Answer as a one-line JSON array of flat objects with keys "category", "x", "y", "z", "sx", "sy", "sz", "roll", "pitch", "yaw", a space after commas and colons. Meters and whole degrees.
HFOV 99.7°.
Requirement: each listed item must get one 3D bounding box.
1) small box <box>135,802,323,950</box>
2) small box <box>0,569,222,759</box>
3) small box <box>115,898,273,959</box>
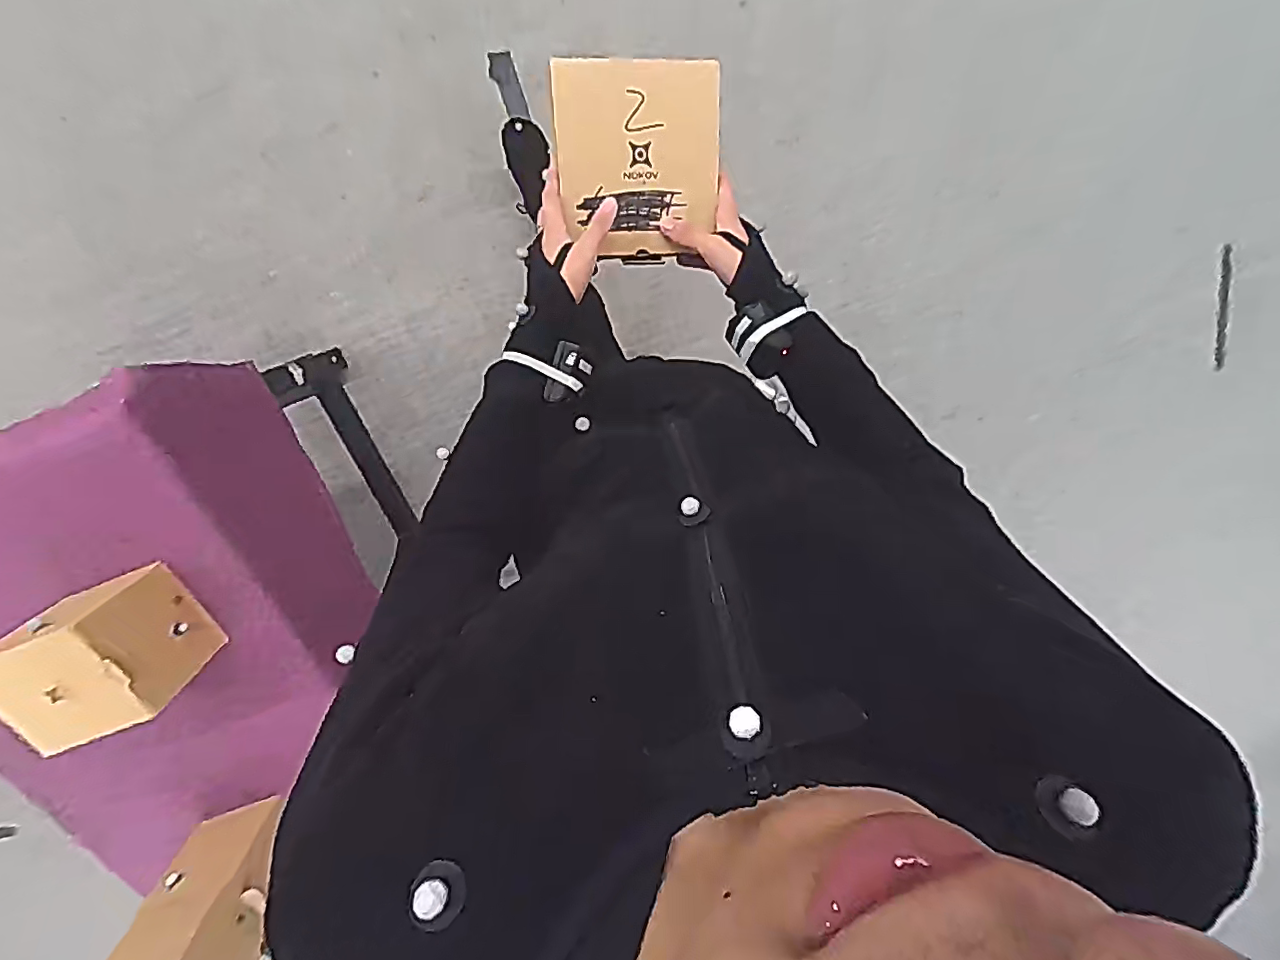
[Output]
[{"category": "small box", "x": -0.726, "y": 0.730, "z": 0.980, "sx": 0.179, "sy": 0.176, "sz": 0.168, "roll": -20, "pitch": 112, "yaw": 1}, {"category": "small box", "x": -0.782, "y": 0.260, "z": 0.793, "sx": 0.179, "sy": 0.176, "sz": 0.168, "roll": -21, "pitch": 112, "yaw": 2}, {"category": "small box", "x": -0.710, "y": 0.791, "z": 0.828, "sx": 0.179, "sy": 0.176, "sz": 0.168, "roll": -23, "pitch": 111, "yaw": 4}]
